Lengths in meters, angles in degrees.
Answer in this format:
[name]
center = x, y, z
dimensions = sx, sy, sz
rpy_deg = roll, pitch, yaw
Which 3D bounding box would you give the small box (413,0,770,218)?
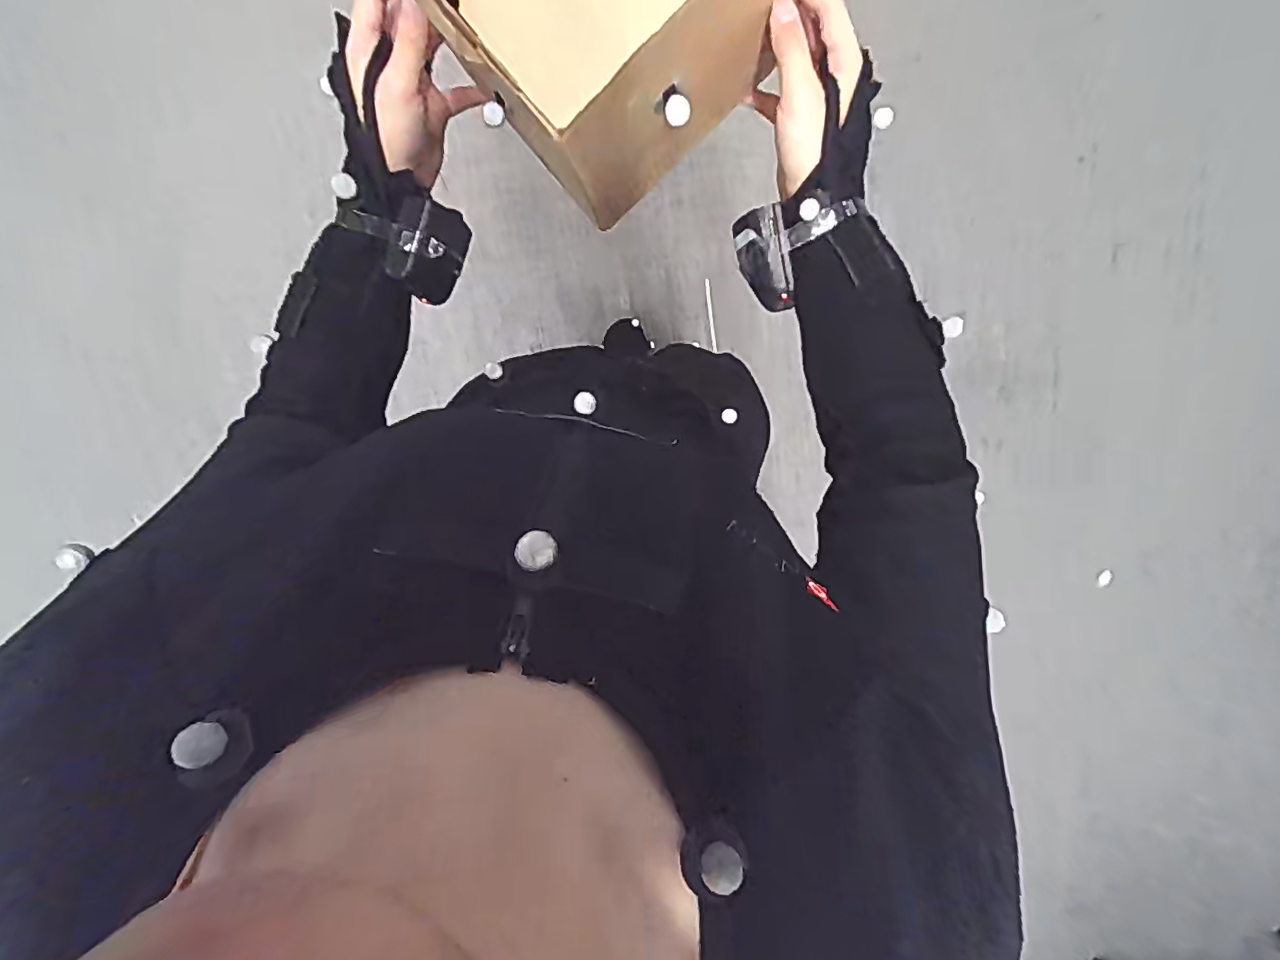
[small box]
center = -0.029, -0.302, 0.336
dimensions = 0.179, 0.176, 0.168
rpy_deg = -42, 94, 10
